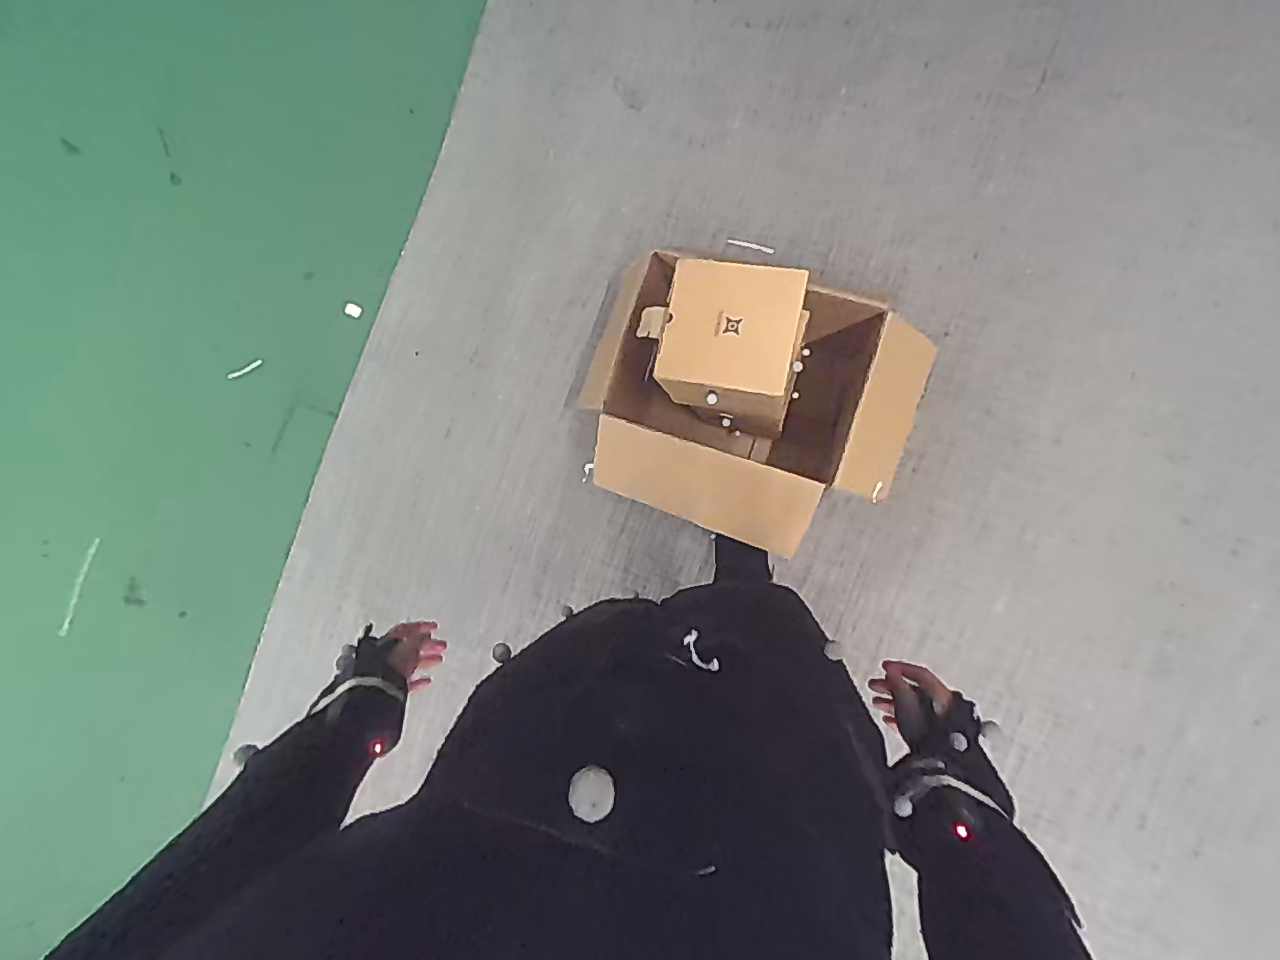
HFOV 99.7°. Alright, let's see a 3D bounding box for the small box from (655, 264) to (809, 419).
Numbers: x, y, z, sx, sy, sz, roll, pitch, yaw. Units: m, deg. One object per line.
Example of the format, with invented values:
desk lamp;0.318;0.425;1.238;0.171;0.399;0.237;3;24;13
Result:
small box;0.137;-0.191;0.787;0.179;0.176;0.168;12;89;14
